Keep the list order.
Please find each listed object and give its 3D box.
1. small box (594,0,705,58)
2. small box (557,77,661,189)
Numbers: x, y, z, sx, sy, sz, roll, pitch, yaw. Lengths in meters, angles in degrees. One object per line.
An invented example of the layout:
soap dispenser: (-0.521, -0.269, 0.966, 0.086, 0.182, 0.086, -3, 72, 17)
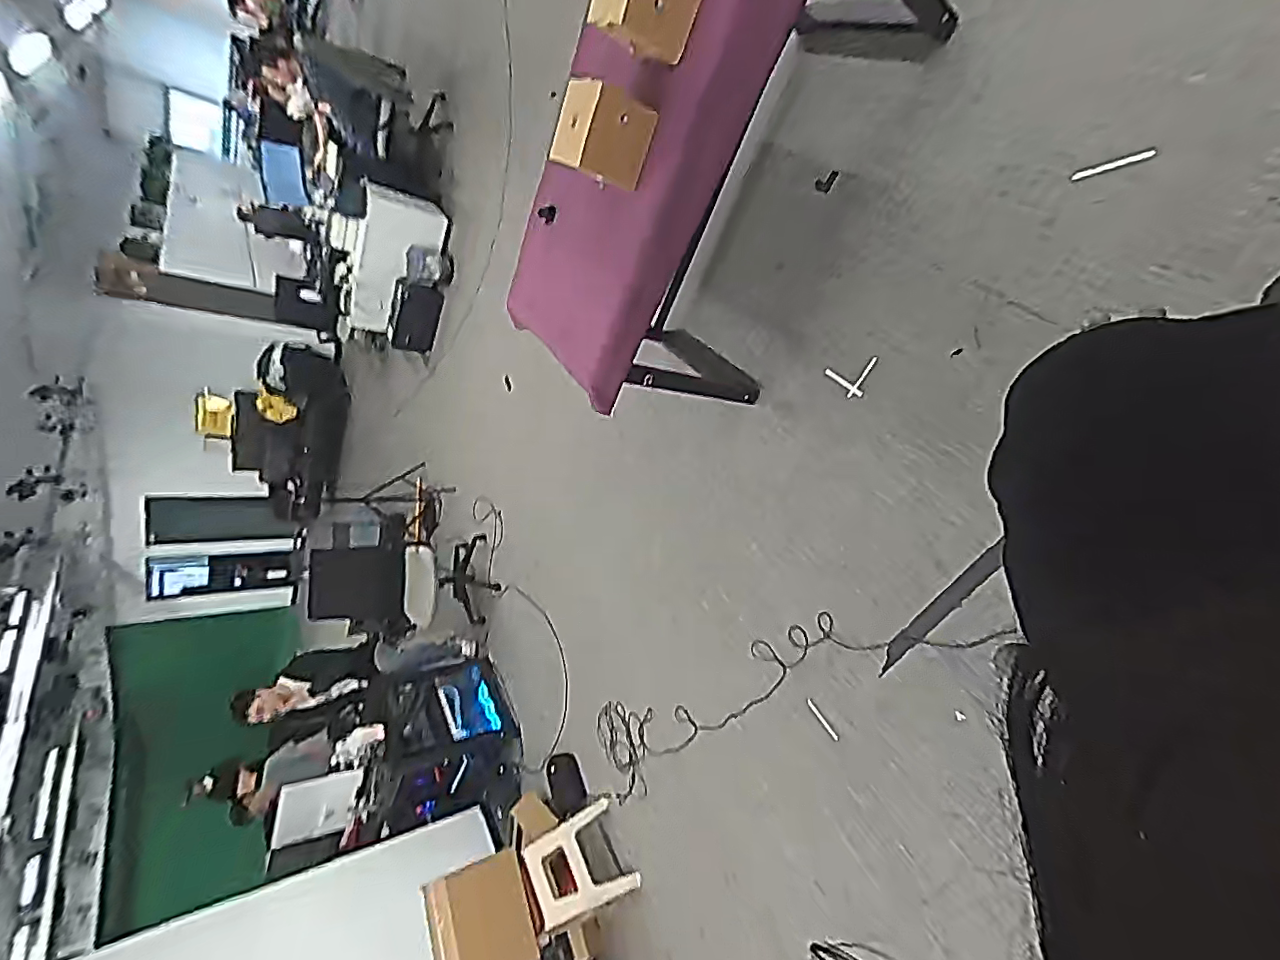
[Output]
small box: (0.029, -1.062, 1.181, 0.168, 0.176, 0.179, 50, 127, 39)
small box: (-0.073, -0.833, 1.303, 0.168, 0.176, 0.179, 45, 124, 43)
